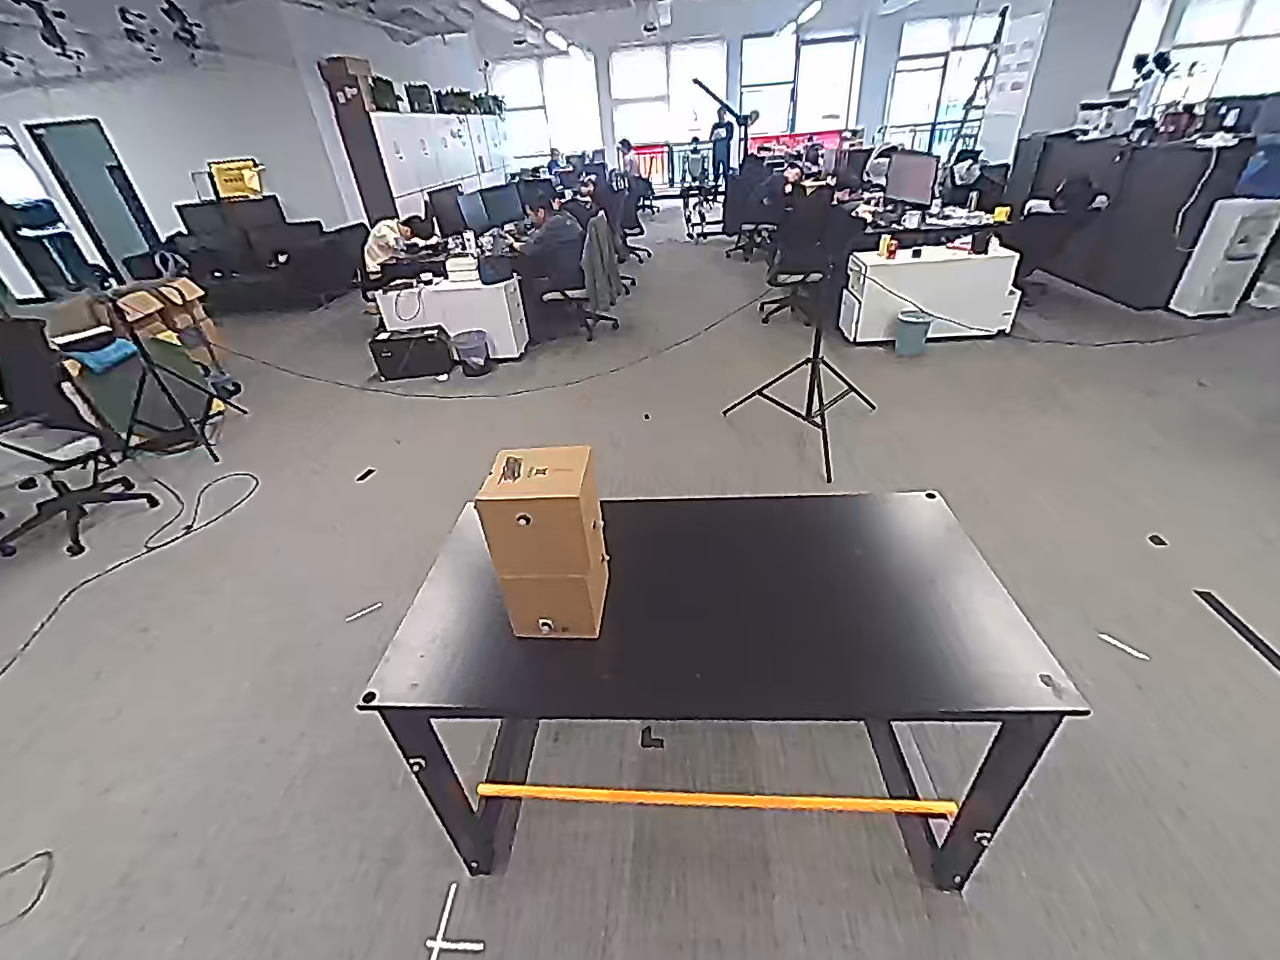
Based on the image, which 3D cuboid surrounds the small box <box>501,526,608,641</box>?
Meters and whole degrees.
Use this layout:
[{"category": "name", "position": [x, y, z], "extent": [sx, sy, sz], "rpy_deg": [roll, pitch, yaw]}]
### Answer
[{"category": "small box", "position": [-0.158, 0.195, 1.072], "extent": [0.168, 0.176, 0.179], "rpy_deg": [-3, 34, 6]}]

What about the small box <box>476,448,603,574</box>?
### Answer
[{"category": "small box", "position": [-0.171, 0.058, 0.981], "extent": [0.179, 0.176, 0.168], "rpy_deg": [-2, 33, 5]}]
